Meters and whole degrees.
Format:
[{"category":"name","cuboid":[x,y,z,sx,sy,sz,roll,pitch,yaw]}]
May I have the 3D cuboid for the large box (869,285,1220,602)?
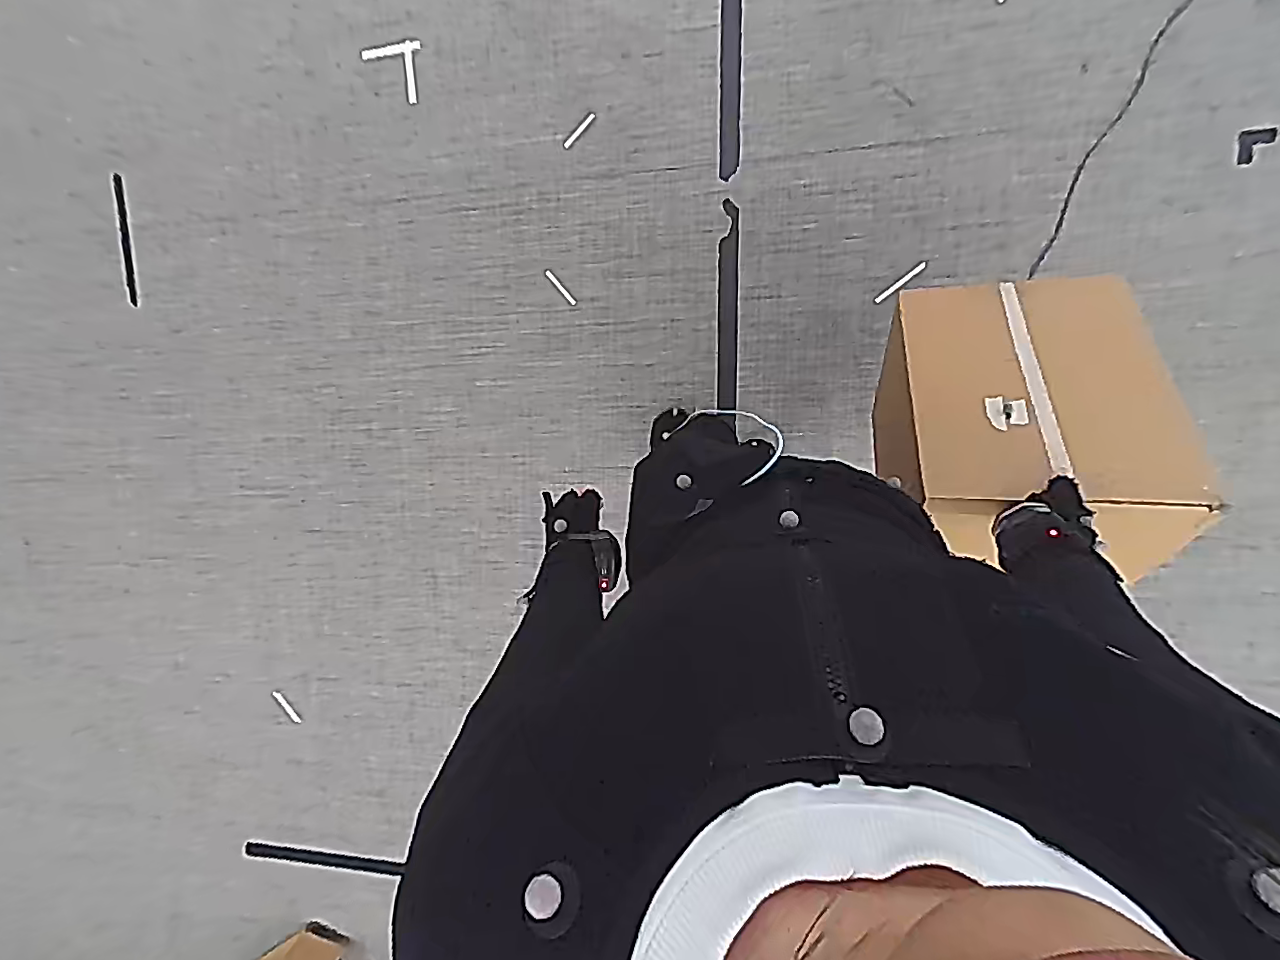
[{"category":"large box","cuboid":[0.571,-0.053,0.877,0.320,0.320,0.408,0,58,16]}]
